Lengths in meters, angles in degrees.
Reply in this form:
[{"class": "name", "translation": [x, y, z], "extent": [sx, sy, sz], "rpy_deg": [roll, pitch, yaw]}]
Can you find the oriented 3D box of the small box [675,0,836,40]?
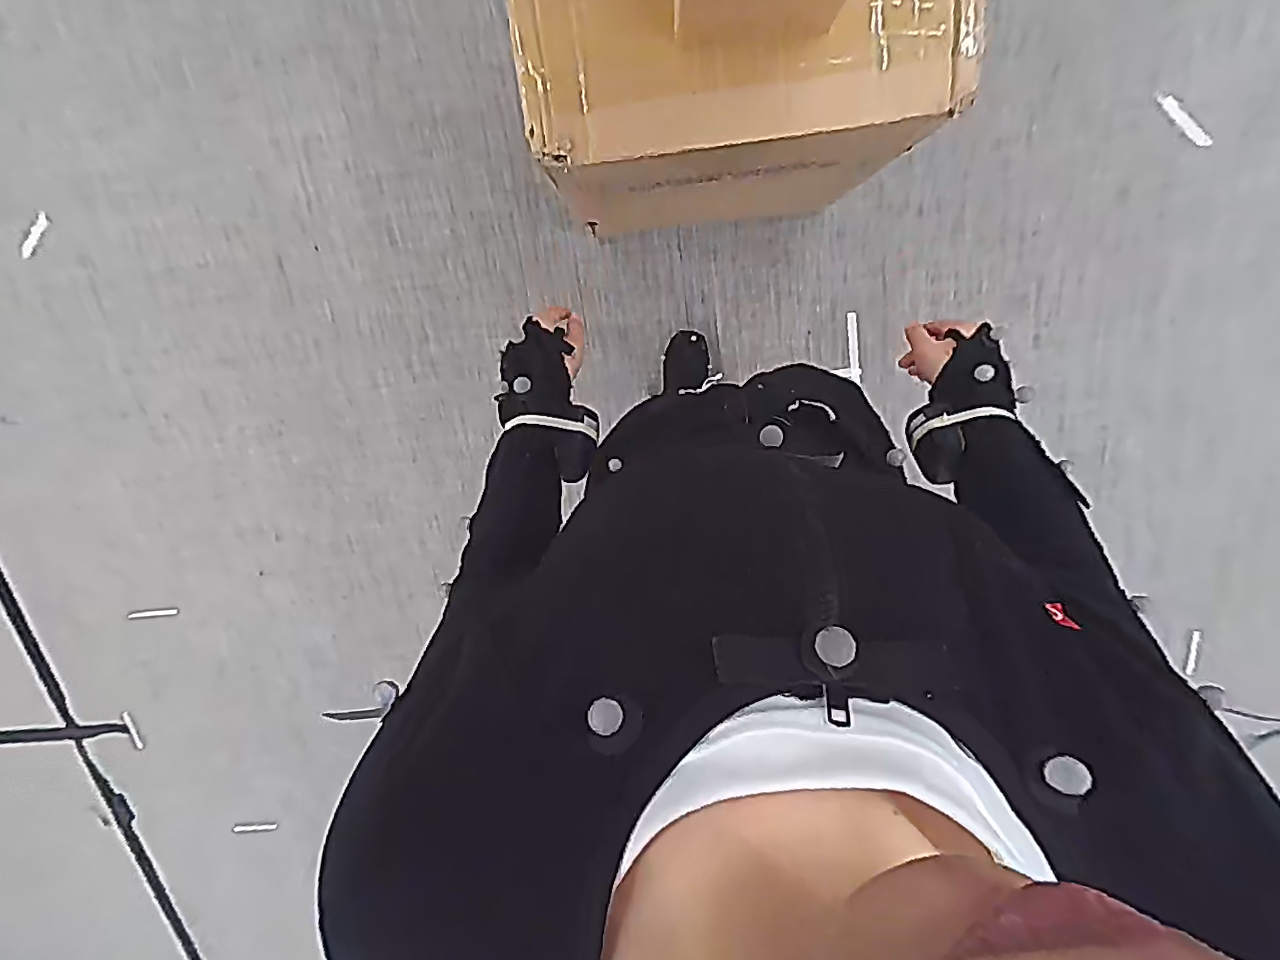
[{"class": "small box", "translation": [0.117, -0.555, 0.510], "extent": [0.179, 0.176, 0.168], "rpy_deg": [-4, 106, 3]}]
